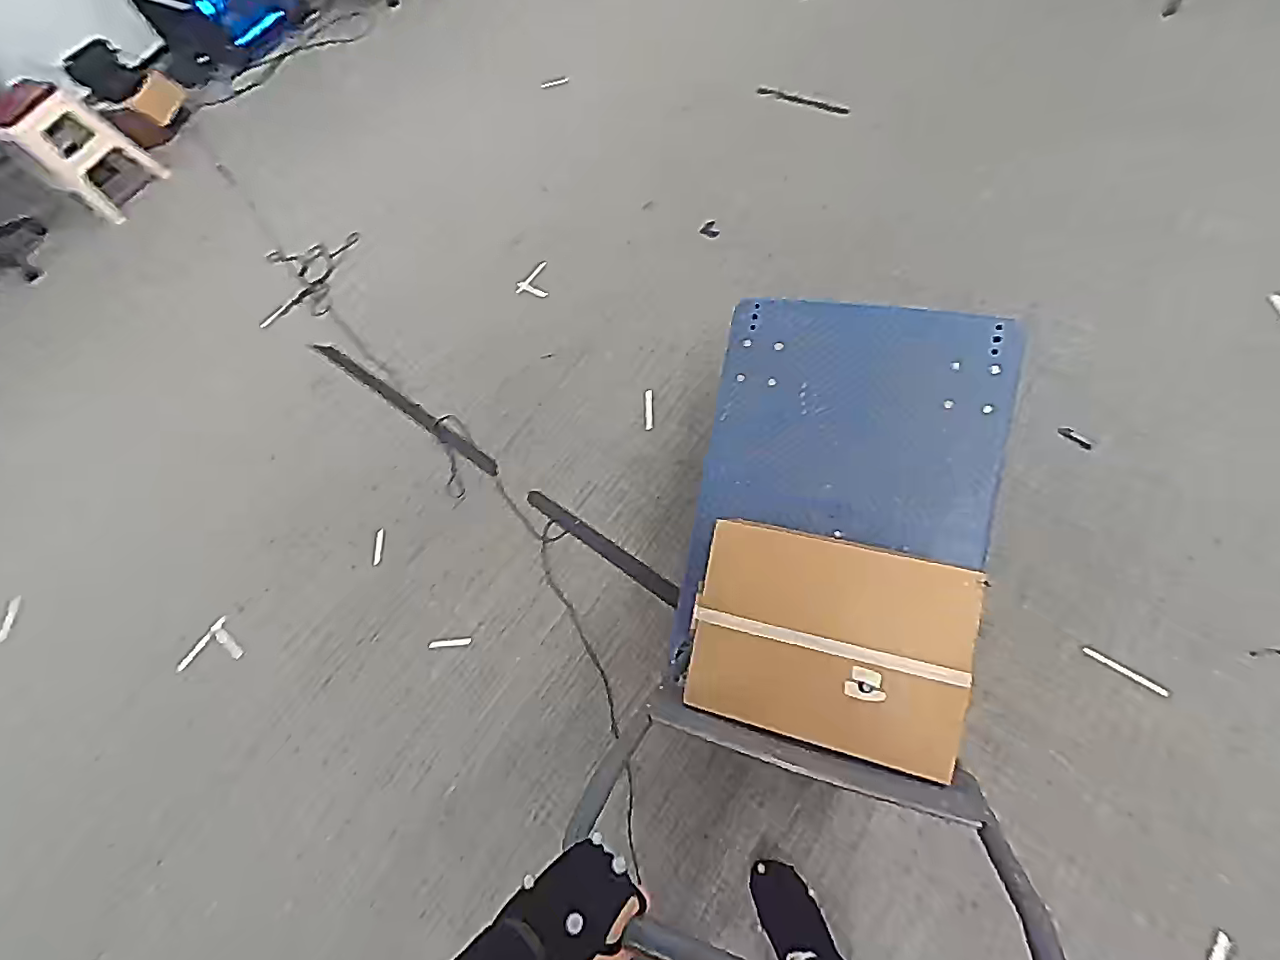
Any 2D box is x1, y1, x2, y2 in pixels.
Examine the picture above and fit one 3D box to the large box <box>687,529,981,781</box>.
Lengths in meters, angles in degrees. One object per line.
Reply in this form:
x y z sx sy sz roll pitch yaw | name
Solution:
0.328 0.273 0.990 0.408 0.320 0.320 10 90 16 | large box
